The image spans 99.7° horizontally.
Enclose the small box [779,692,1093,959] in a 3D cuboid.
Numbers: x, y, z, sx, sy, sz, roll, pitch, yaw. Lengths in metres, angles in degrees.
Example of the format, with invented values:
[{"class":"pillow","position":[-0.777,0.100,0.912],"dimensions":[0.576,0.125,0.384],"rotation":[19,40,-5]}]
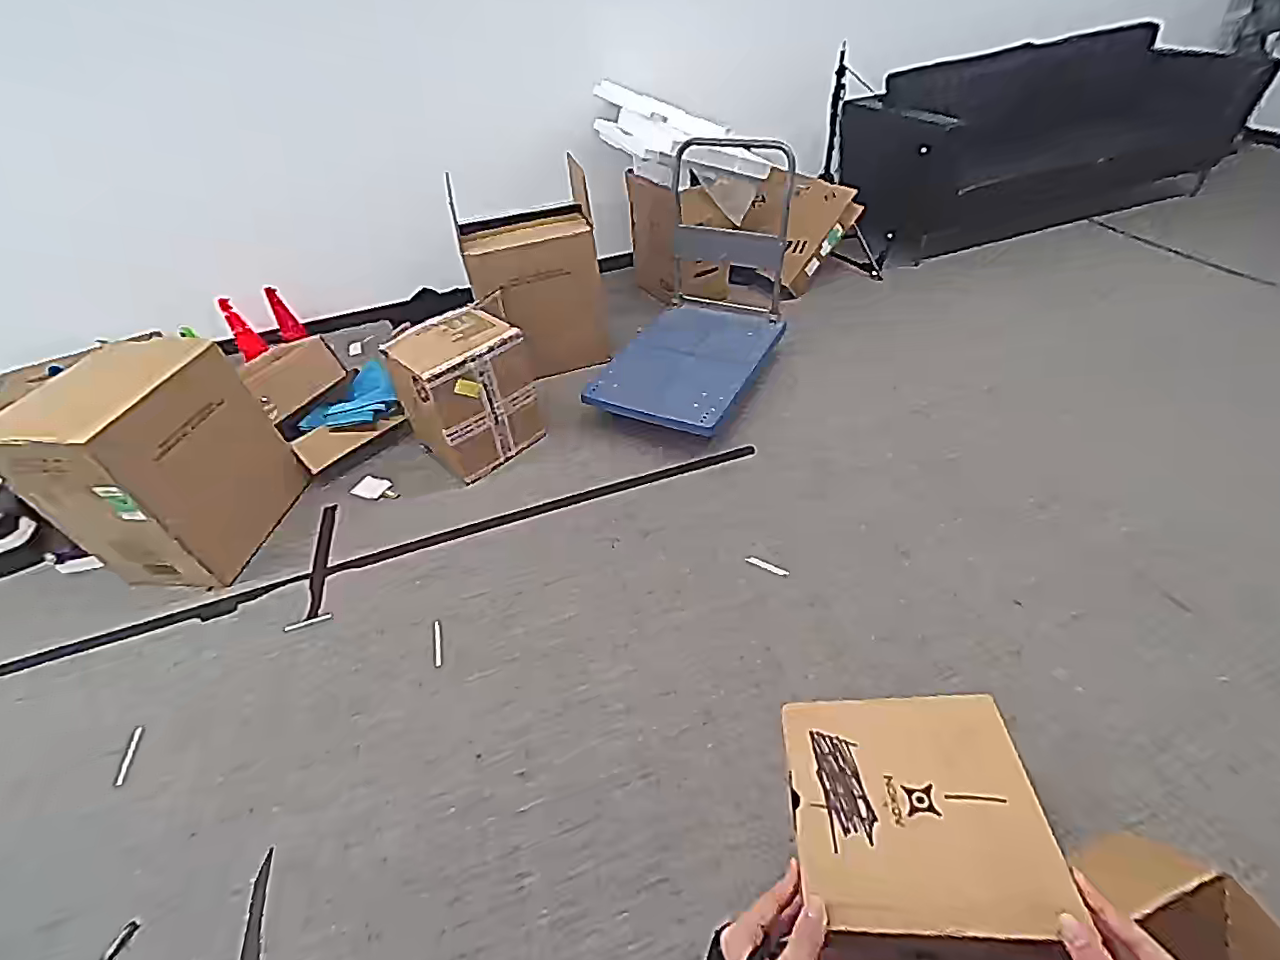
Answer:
[{"class":"small box","position":[0.223,0.302,0.452],"dimensions":[0.179,0.176,0.168],"rotation":[-9,36,14]}]
